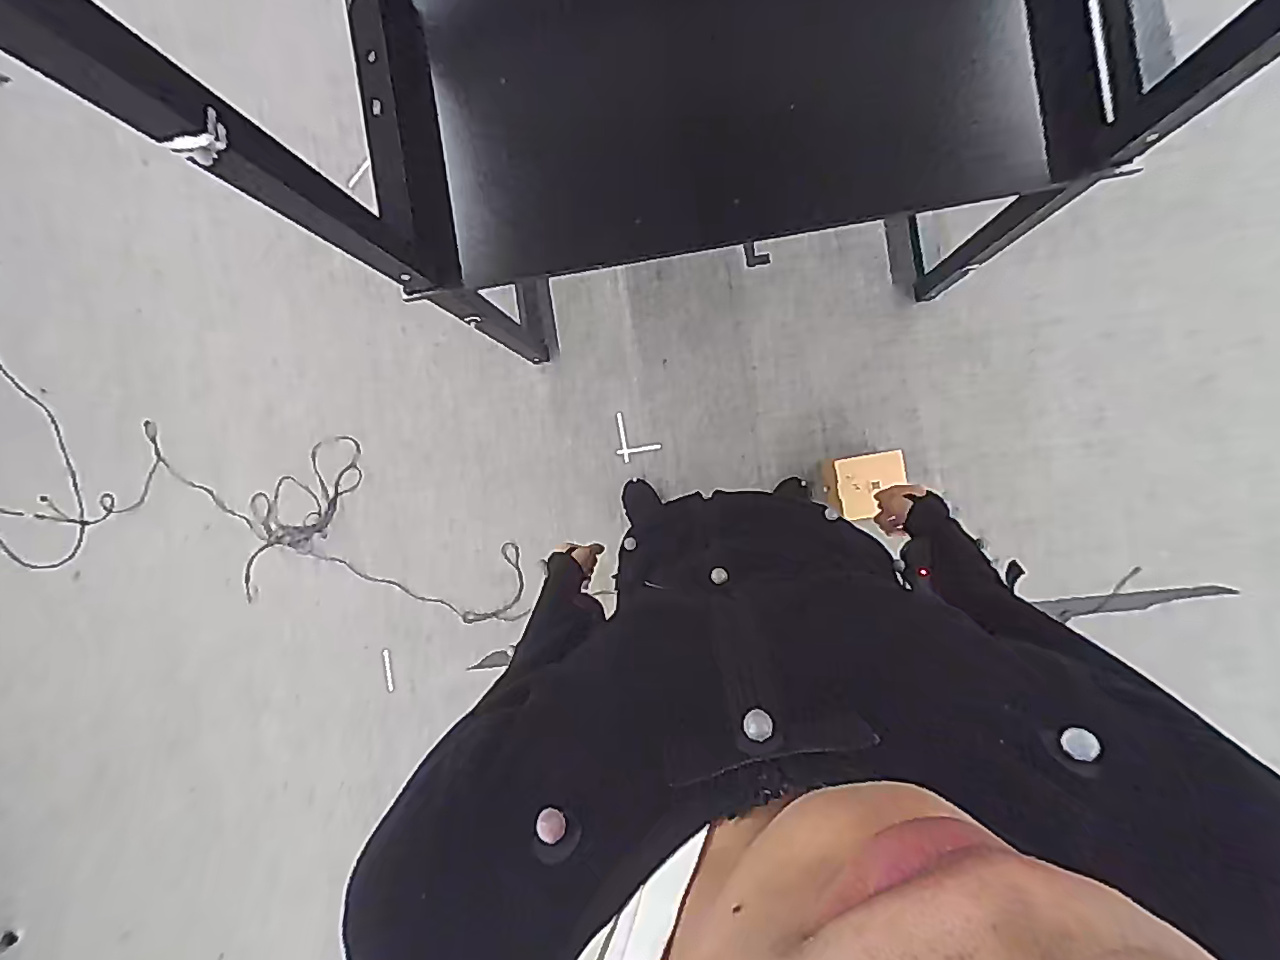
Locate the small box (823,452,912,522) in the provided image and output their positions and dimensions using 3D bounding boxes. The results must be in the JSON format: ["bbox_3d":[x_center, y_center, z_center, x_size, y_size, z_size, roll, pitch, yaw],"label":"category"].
[{"bbox_3d":[0.624,0.016,1.498,0.179,0.176,0.168,-10,90,7],"label":"small box"}]
